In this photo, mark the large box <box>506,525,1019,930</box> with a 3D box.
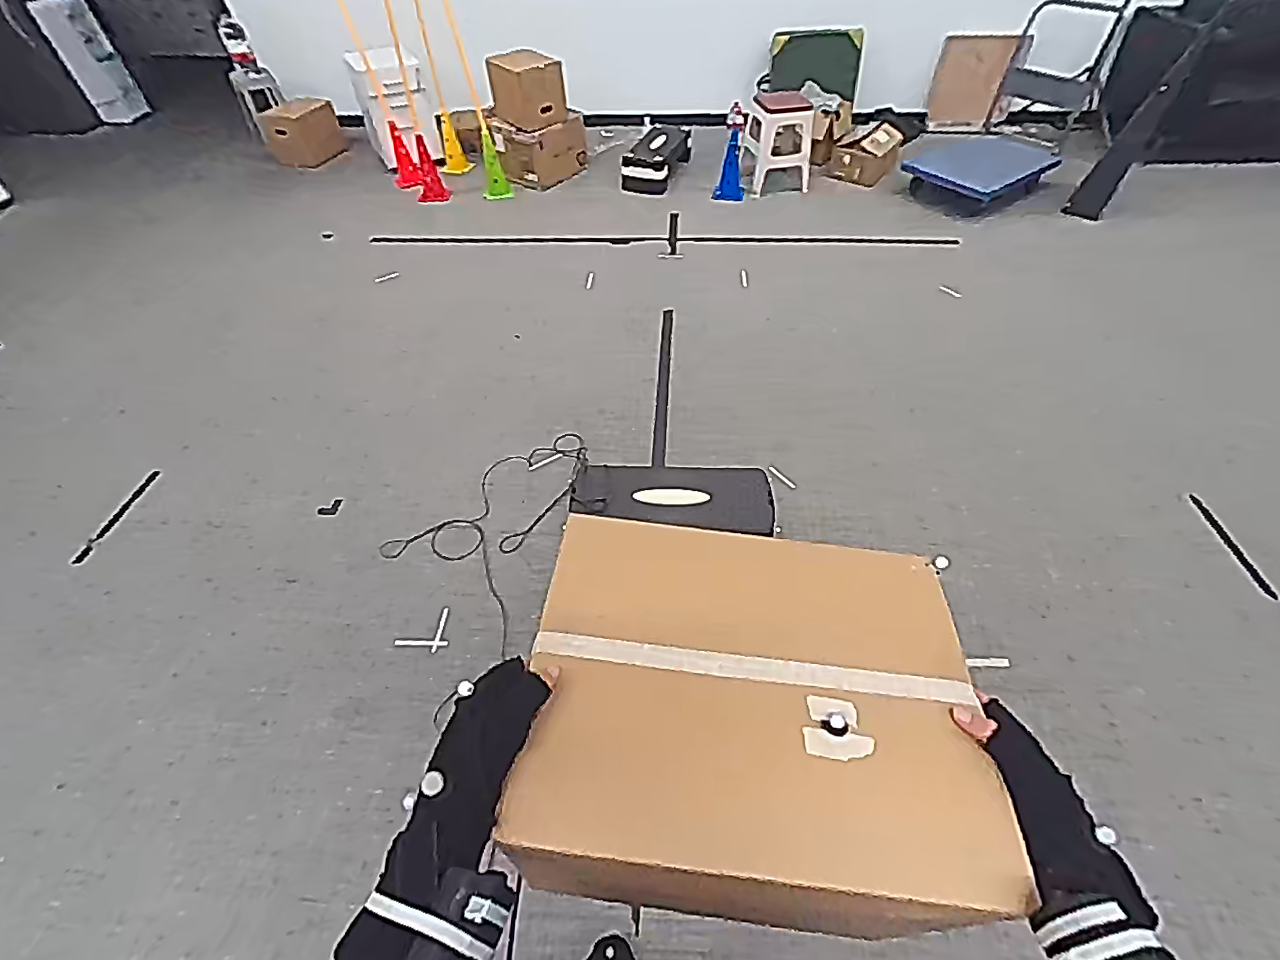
[{"bbox_3d":[0.095,0.283,0.620,0.408,0.320,0.320,7,47,2],"label":"large box"}]
